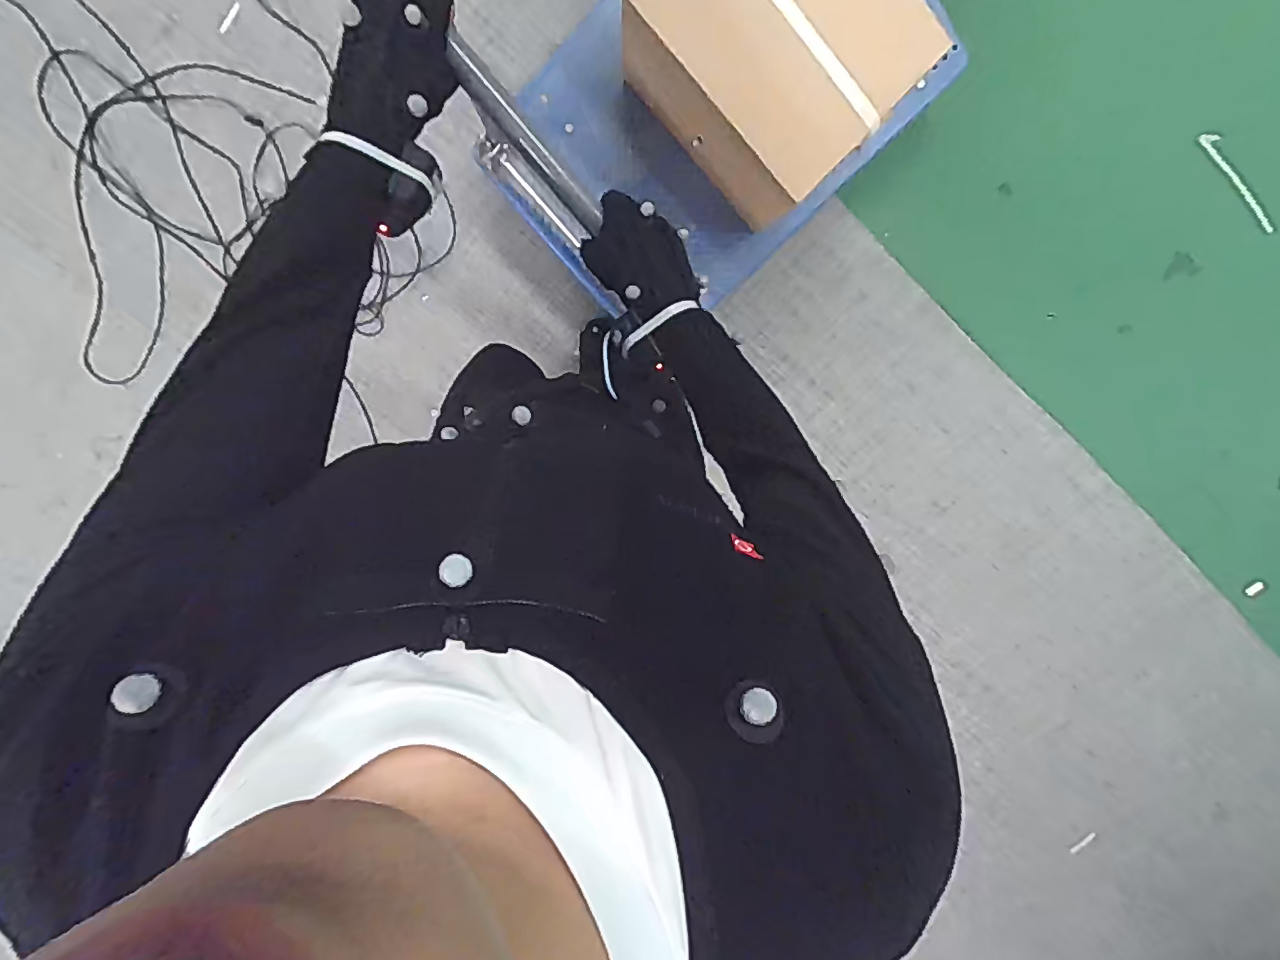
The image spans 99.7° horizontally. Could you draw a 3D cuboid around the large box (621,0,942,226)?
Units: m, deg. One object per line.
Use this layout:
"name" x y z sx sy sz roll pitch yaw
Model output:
"large box" 0.217 -0.736 0.959 0.408 0.320 0.320 43 101 -12
